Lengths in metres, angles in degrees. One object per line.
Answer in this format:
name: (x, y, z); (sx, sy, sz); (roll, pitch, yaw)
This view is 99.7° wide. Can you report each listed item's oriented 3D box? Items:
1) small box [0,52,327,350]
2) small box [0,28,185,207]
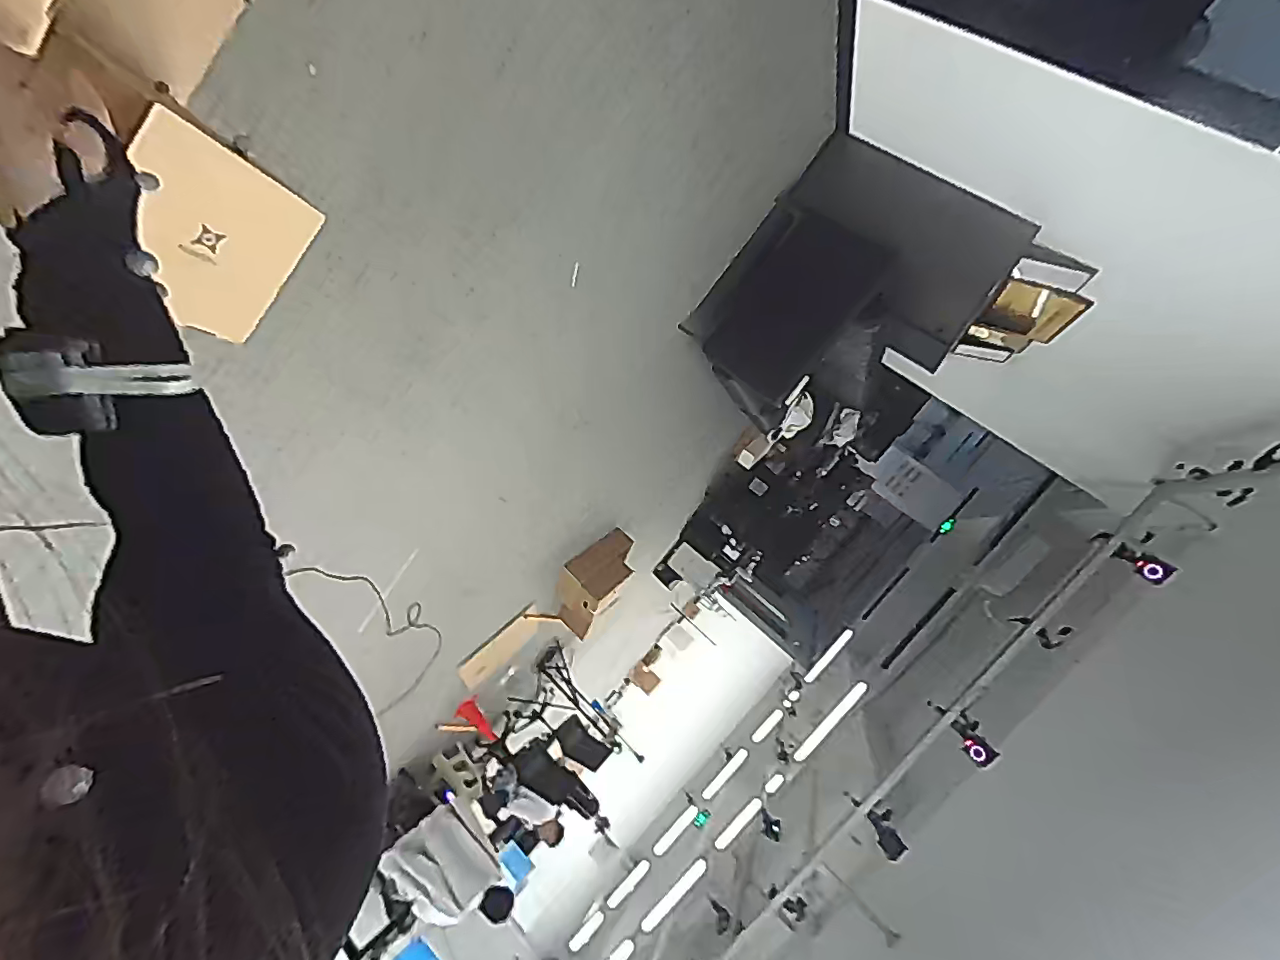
small box: (-0.474, -0.269, 0.543); (0.179, 0.176, 0.168); (-52, 163, 6)
small box: (-0.596, -0.364, 0.594); (0.168, 0.176, 0.179); (-54, 162, 6)
